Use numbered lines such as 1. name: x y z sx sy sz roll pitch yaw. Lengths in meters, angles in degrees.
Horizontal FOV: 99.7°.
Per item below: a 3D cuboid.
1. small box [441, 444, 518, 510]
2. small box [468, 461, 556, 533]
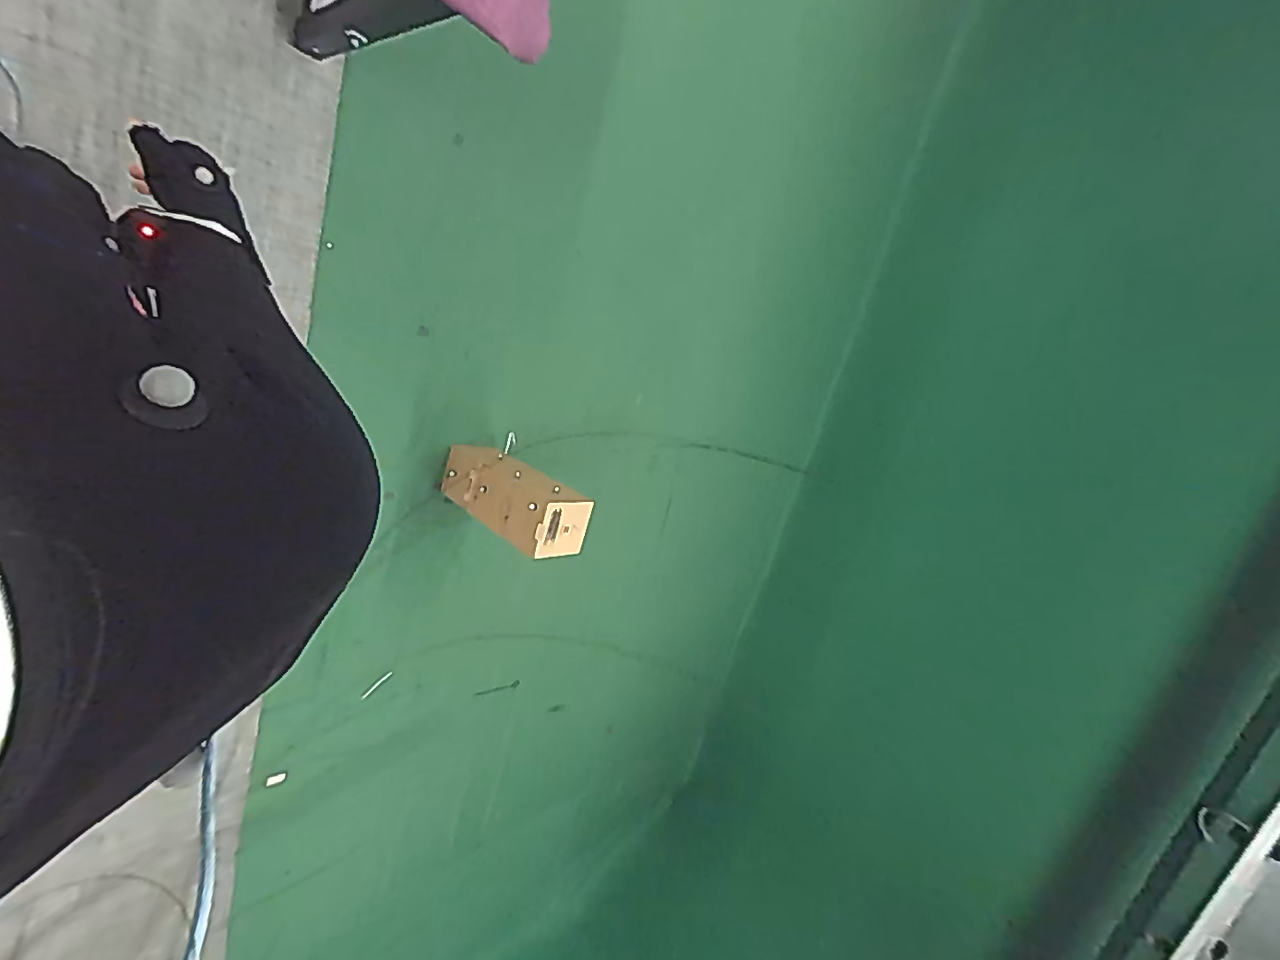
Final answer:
1. small box: -0.508 -0.009 1.742 0.179 0.176 0.168 4 108 -51
2. small box: -0.391 0.048 1.645 0.179 0.176 0.168 1 110 -50
